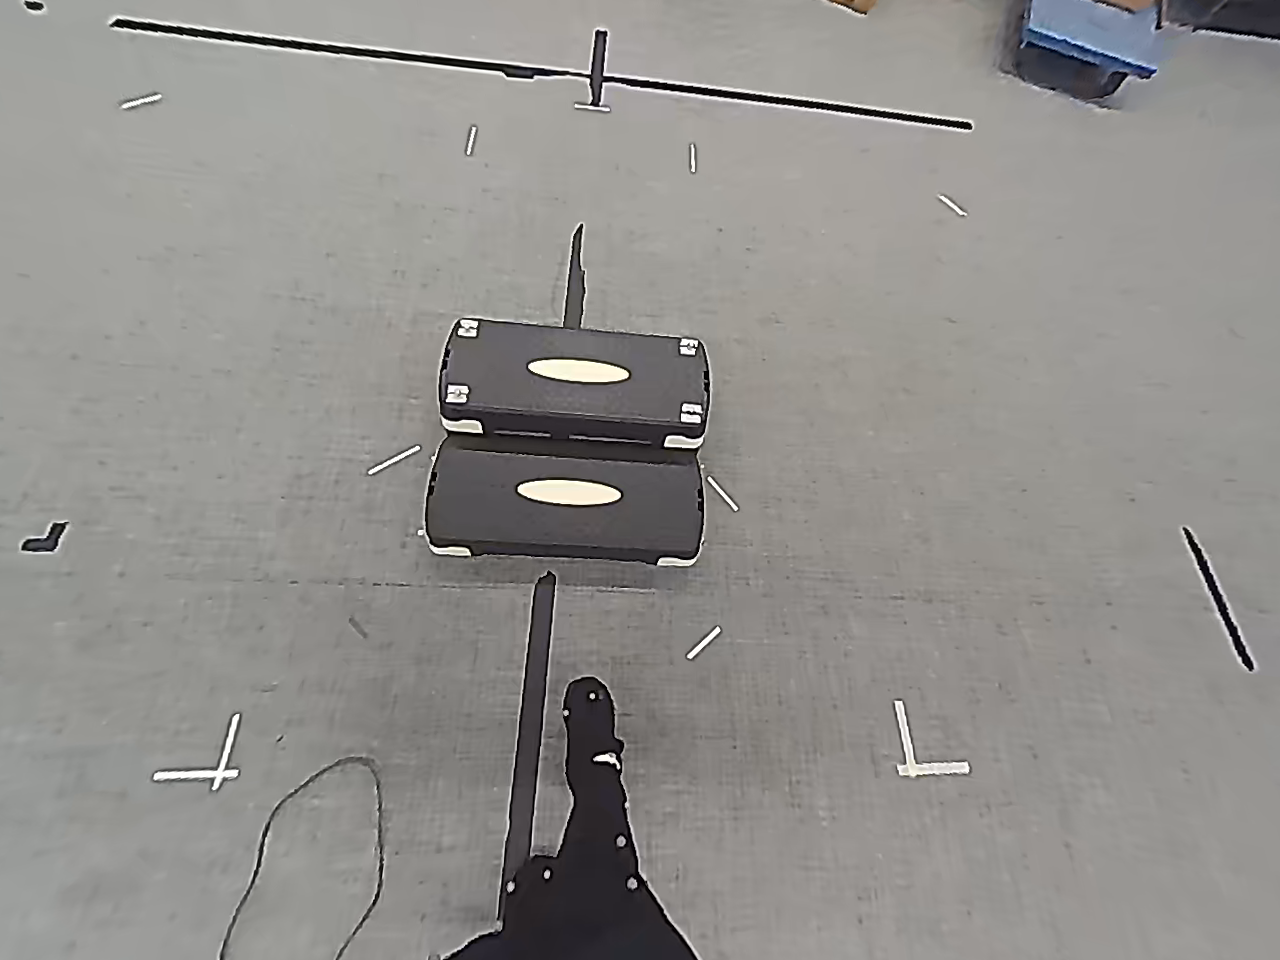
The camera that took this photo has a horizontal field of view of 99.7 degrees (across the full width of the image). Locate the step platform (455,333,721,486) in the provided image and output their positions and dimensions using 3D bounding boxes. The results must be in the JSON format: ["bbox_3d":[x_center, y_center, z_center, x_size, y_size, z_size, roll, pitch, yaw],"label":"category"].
[{"bbox_3d":[-0.130,-0.185,1.438,0.684,0.204,0.286,8,63,-4],"label":"step platform"}]
